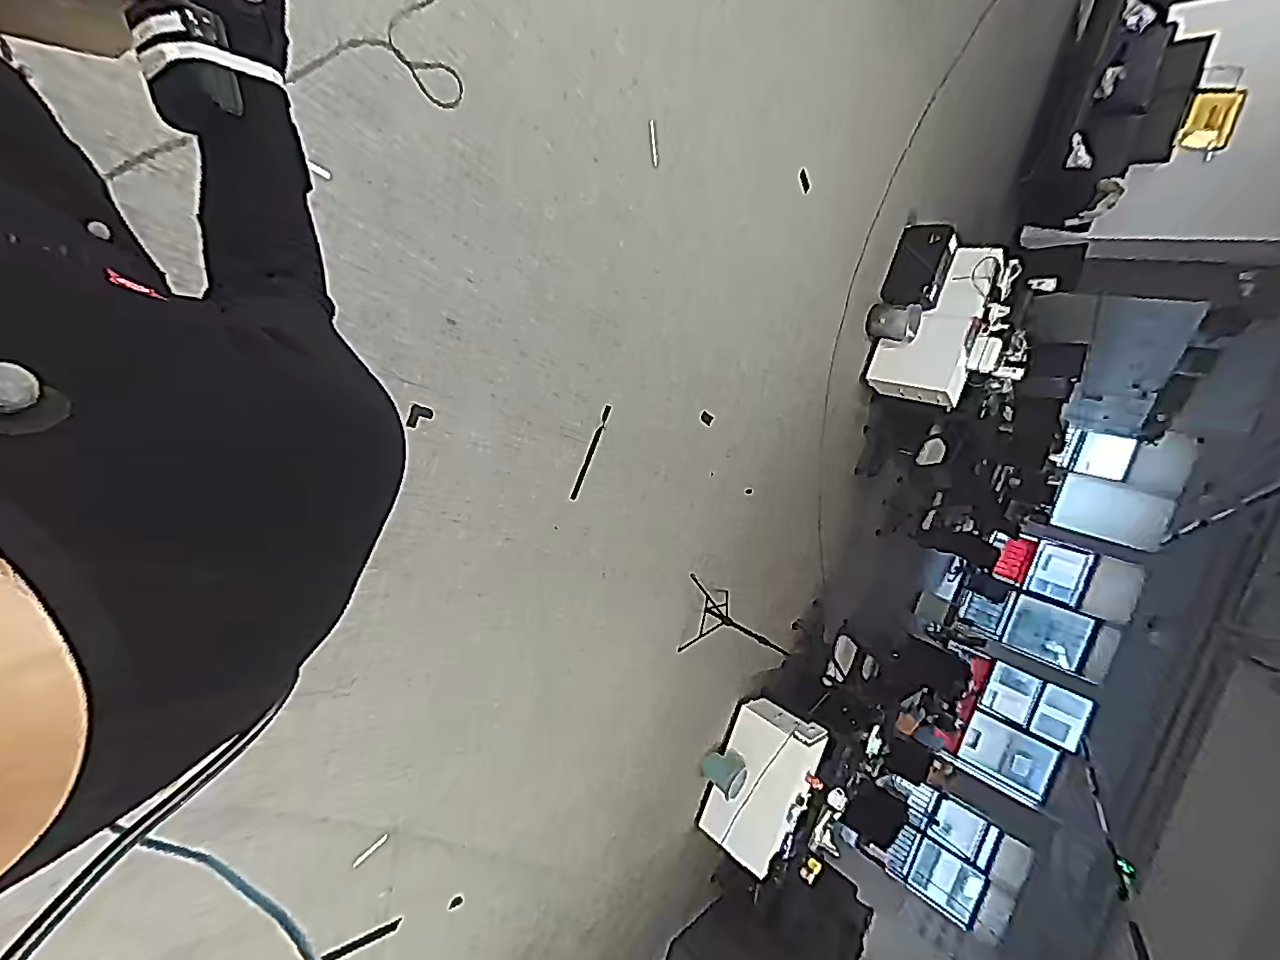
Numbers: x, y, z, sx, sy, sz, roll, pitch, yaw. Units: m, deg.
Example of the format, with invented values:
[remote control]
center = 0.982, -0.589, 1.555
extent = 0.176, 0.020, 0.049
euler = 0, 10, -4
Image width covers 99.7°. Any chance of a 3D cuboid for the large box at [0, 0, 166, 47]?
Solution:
[large box]
center = -0.549, -0.476, 0.266
extent = 0.408, 0.320, 0.320
euler = -21, 126, -45
